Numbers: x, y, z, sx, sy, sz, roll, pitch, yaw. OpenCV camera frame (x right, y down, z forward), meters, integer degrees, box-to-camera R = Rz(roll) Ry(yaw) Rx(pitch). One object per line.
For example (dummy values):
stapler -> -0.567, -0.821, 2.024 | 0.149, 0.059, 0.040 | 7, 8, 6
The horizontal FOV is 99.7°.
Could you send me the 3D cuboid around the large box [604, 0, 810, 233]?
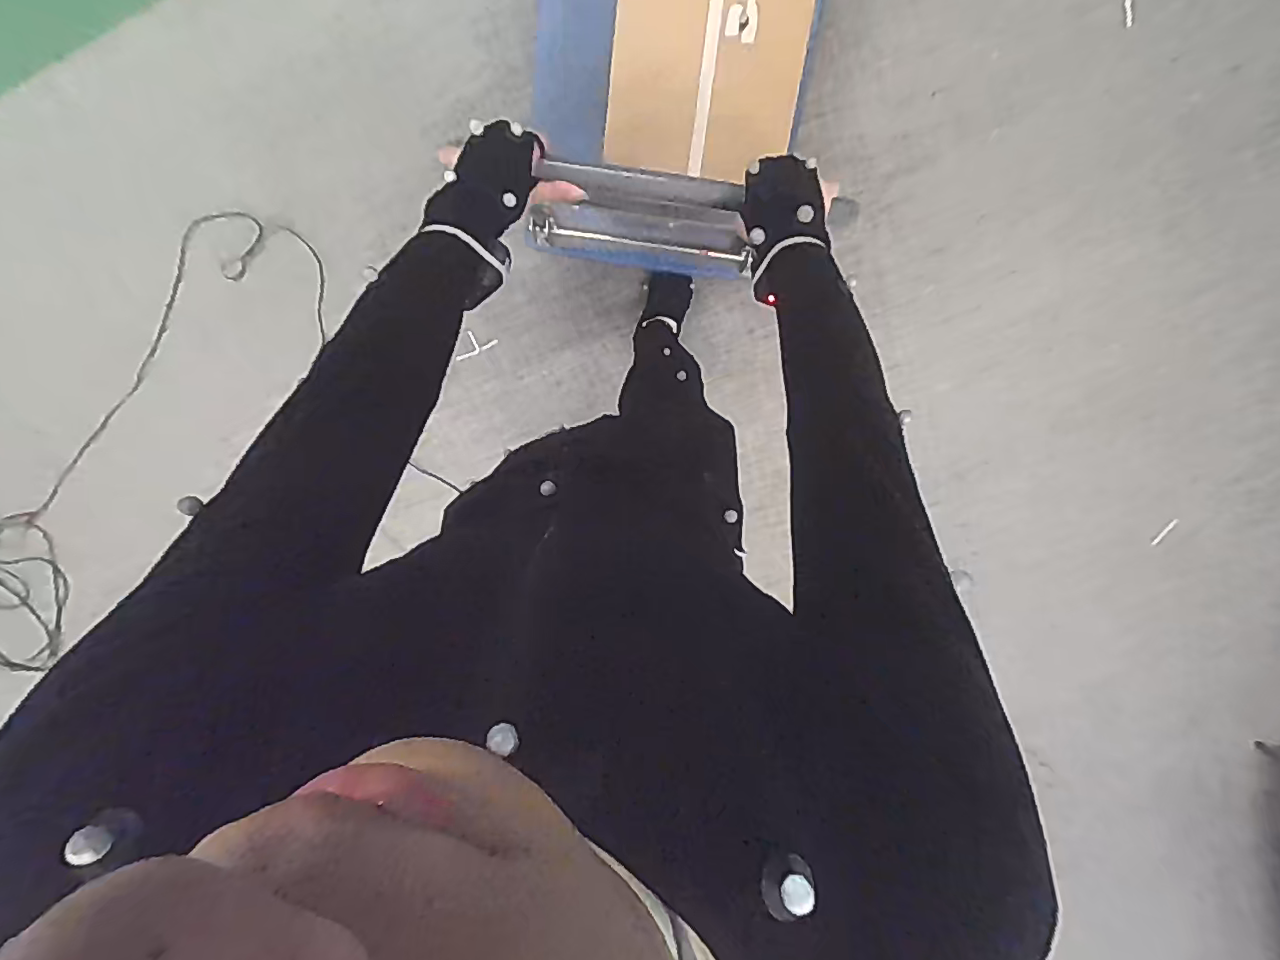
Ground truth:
large box -> 0.113, -0.728, 1.049 | 0.320, 0.320, 0.408 | 7, 108, -2
